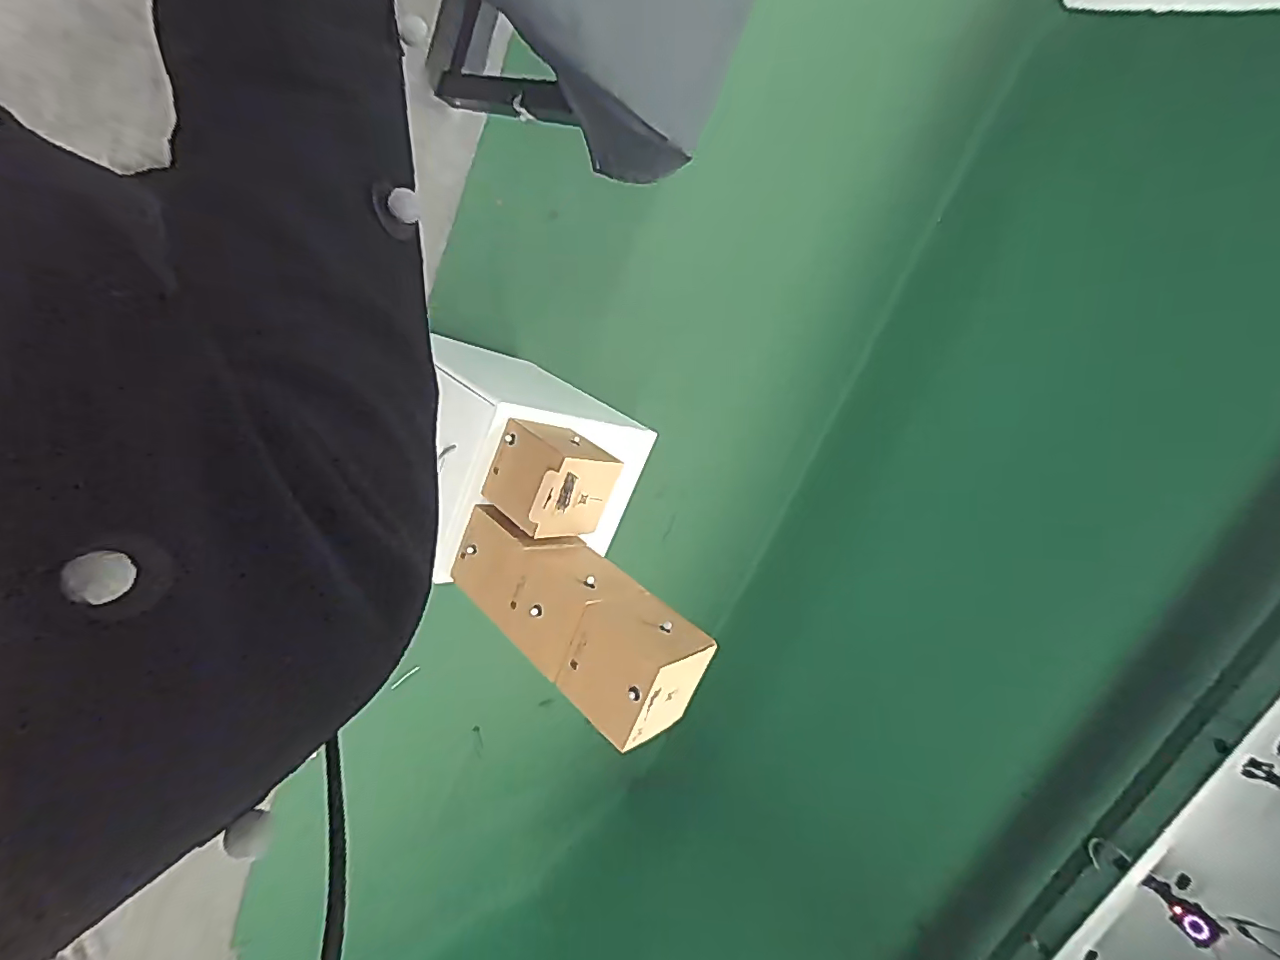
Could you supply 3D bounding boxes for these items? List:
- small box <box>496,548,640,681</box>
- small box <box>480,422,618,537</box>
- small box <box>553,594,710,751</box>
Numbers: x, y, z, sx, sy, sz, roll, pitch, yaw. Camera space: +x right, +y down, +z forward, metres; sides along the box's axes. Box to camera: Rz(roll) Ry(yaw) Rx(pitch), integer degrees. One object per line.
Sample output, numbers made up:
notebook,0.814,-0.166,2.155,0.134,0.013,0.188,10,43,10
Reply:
small box,-0.137,0.239,1.010,0.179,0.176,0.168,6,112,-55
small box,-0.181,-0.003,1.057,0.179,0.176,0.168,4,114,-55
small box,-0.015,0.315,0.930,0.179,0.176,0.168,2,114,-55
